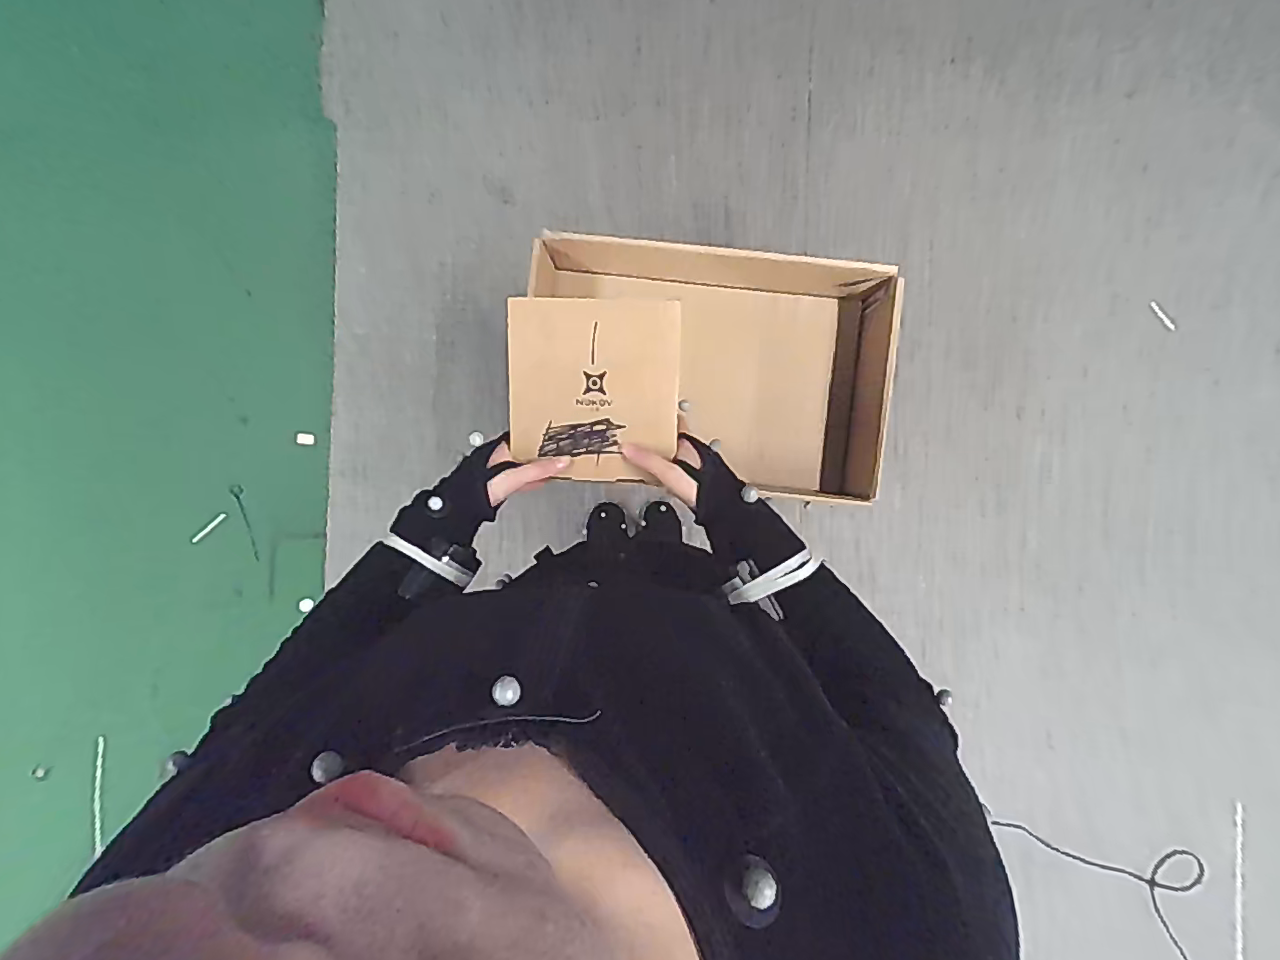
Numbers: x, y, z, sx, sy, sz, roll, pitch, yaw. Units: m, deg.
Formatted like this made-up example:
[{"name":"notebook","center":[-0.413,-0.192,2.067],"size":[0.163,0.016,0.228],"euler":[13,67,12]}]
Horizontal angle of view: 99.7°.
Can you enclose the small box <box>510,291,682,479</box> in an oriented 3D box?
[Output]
[{"name":"small box","center":[-0.040,-0.104,0.599],"size":[0.168,0.176,0.179],"euler":[2,100,2]}]
